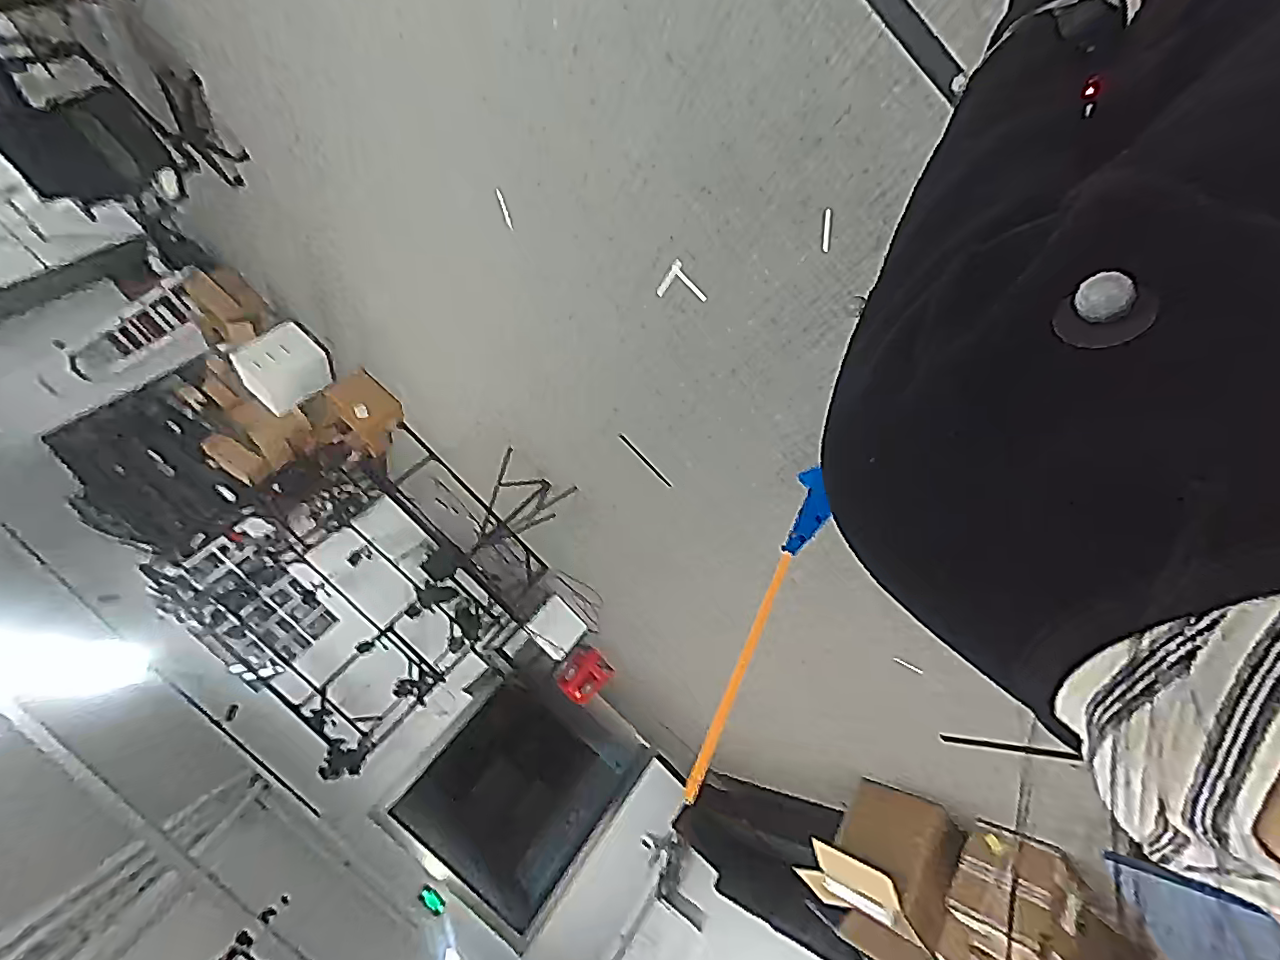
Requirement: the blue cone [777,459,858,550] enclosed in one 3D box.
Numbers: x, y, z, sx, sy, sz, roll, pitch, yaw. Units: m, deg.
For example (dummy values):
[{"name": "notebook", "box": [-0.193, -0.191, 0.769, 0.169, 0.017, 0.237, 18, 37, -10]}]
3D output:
[{"name": "blue cone", "box": [0.598, 0.116, 1.923, 0.192, 0.380, 0.193, 49, 150, -8]}]
